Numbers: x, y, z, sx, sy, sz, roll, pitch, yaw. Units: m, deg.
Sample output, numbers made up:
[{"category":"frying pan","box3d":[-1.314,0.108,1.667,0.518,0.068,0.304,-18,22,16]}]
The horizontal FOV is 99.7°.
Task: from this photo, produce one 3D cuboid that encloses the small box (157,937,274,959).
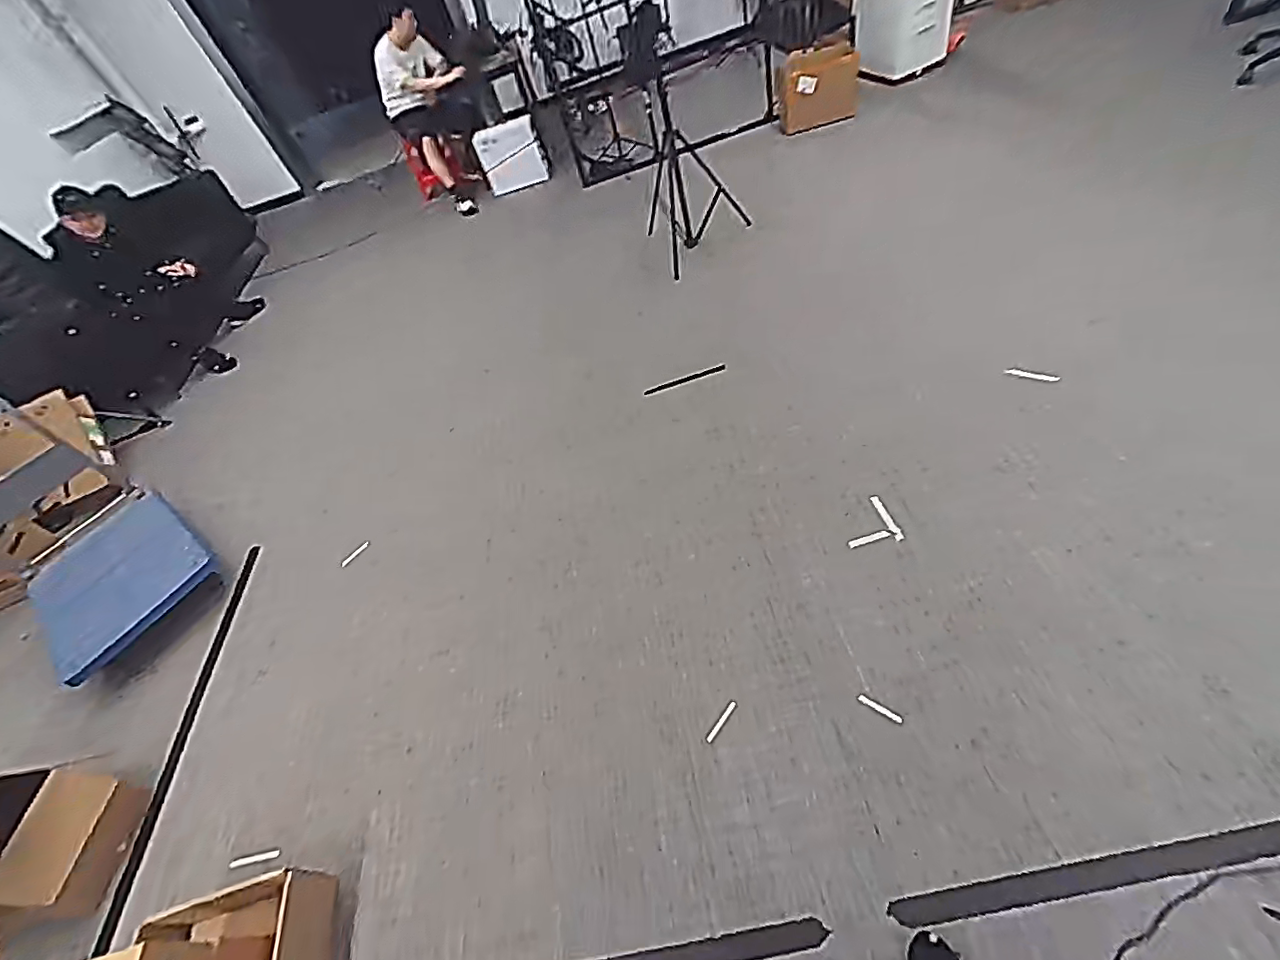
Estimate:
[{"category":"small box","box3d":[-0.975,1.155,1.211,0.179,0.176,0.168,-20,49,1]}]
